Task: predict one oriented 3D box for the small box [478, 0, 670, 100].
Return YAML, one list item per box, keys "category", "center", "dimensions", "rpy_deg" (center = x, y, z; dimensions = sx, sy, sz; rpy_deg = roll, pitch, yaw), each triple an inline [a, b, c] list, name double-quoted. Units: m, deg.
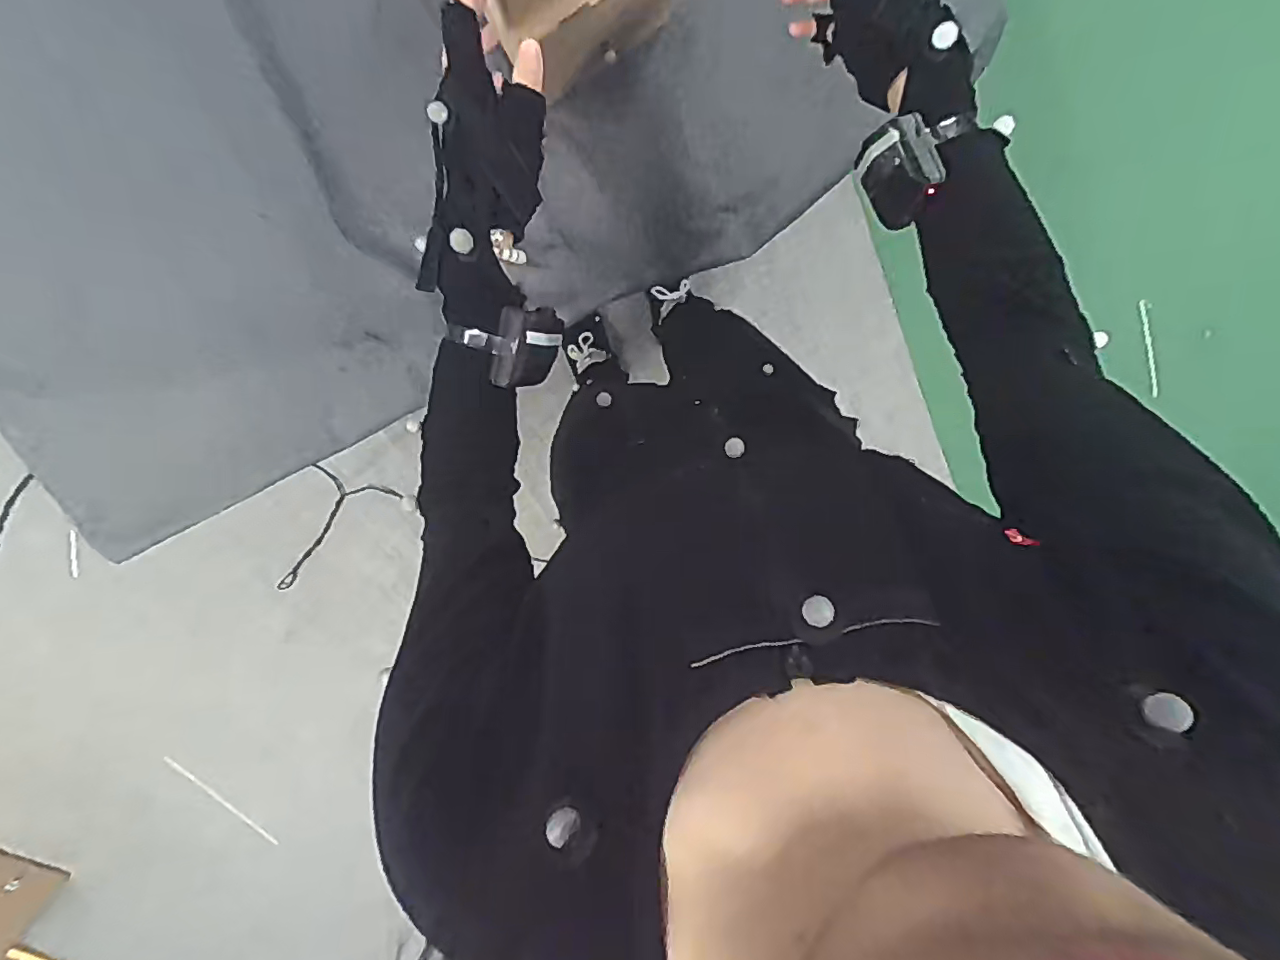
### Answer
- category: "small box"
  center: [-0.077, -0.488, 0.476]
  dimensions: [0.168, 0.176, 0.179]
  rpy_deg: [-31, 110, 5]
